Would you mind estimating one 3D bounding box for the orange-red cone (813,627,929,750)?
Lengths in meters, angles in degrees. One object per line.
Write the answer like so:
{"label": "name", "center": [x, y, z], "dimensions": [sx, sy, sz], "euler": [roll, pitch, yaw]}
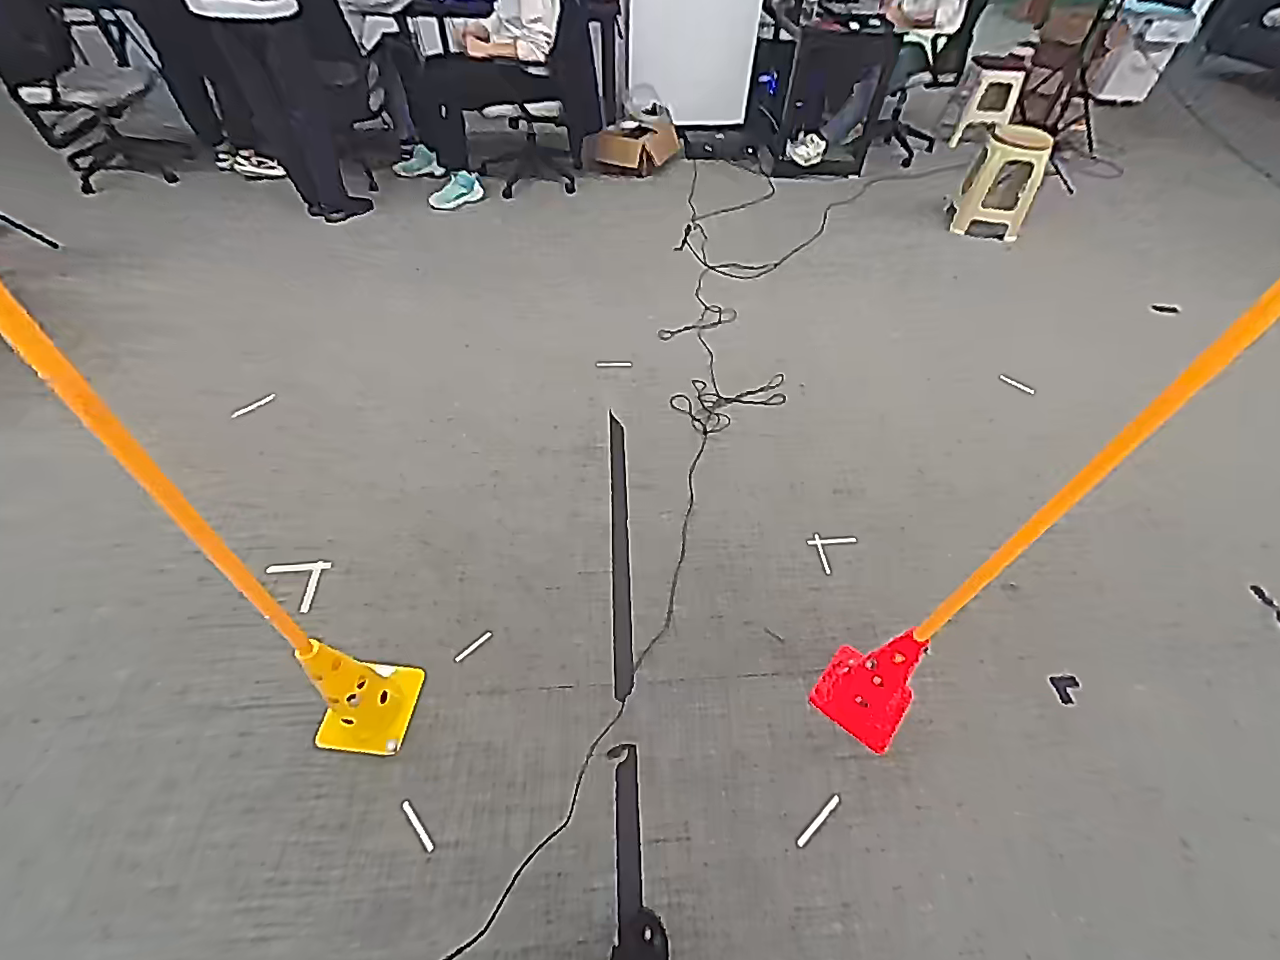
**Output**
{"label": "orange-red cone", "center": [0.553, 0.422, 1.200], "dimensions": [0.198, 0.360, 0.199], "euler": [35, 58, 26]}
